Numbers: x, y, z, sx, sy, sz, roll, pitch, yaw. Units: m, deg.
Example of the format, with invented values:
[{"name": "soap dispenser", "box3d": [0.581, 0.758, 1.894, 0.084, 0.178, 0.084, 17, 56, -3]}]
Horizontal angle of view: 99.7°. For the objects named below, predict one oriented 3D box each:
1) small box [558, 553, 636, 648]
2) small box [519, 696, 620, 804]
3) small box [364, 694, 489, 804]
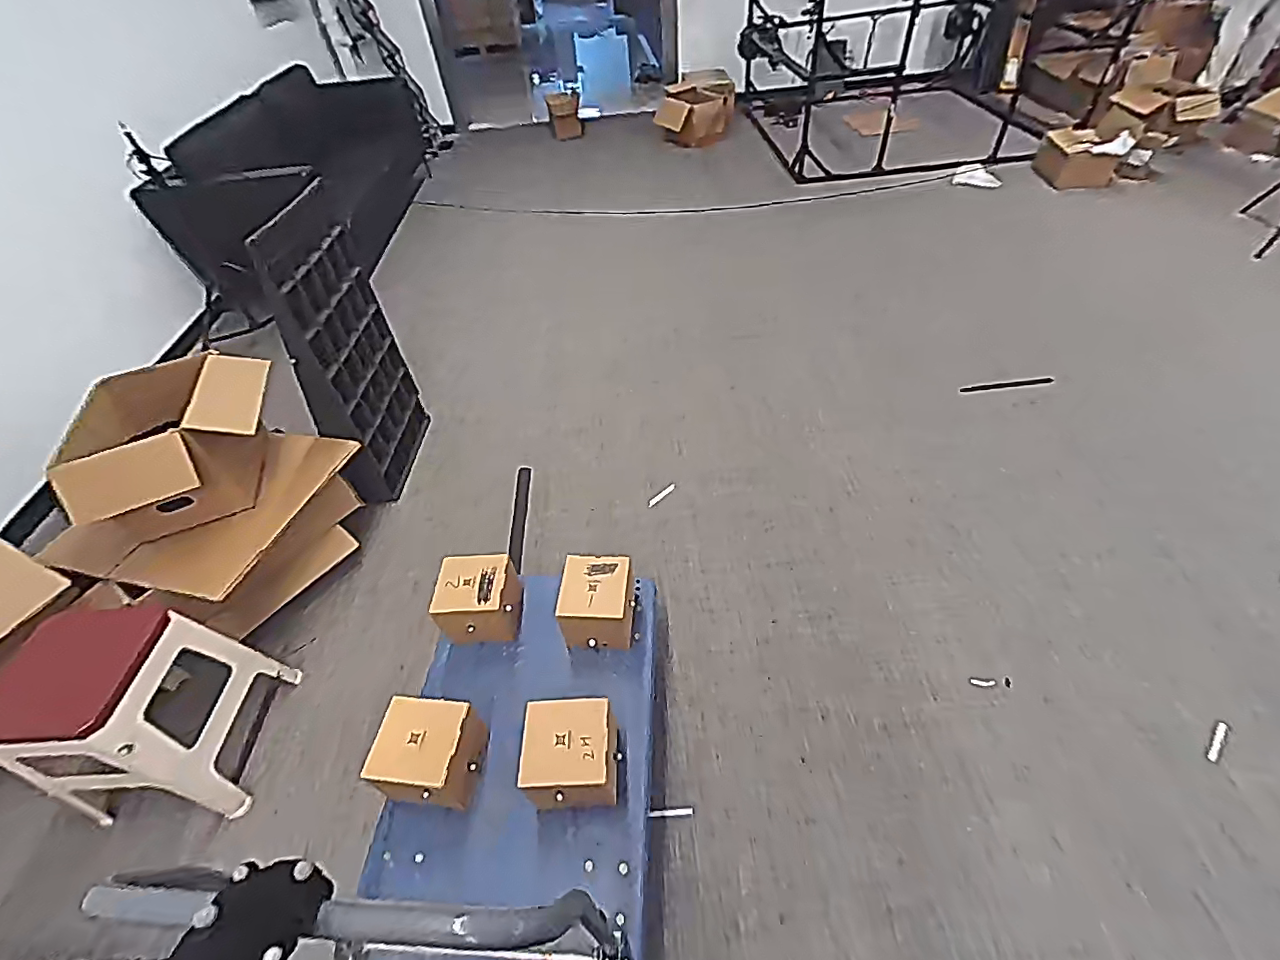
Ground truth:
[{"name": "small box", "box3d": [-0.102, 0.309, 1.389, 0.168, 0.176, 0.179, 1, 48, 7]}, {"name": "small box", "box3d": [-0.141, 0.574, 1.144, 0.179, 0.176, 0.168, -4, 47, 3]}, {"name": "small box", "box3d": [-0.449, 0.583, 1.168, 0.179, 0.176, 0.168, 3, 47, 6]}]
